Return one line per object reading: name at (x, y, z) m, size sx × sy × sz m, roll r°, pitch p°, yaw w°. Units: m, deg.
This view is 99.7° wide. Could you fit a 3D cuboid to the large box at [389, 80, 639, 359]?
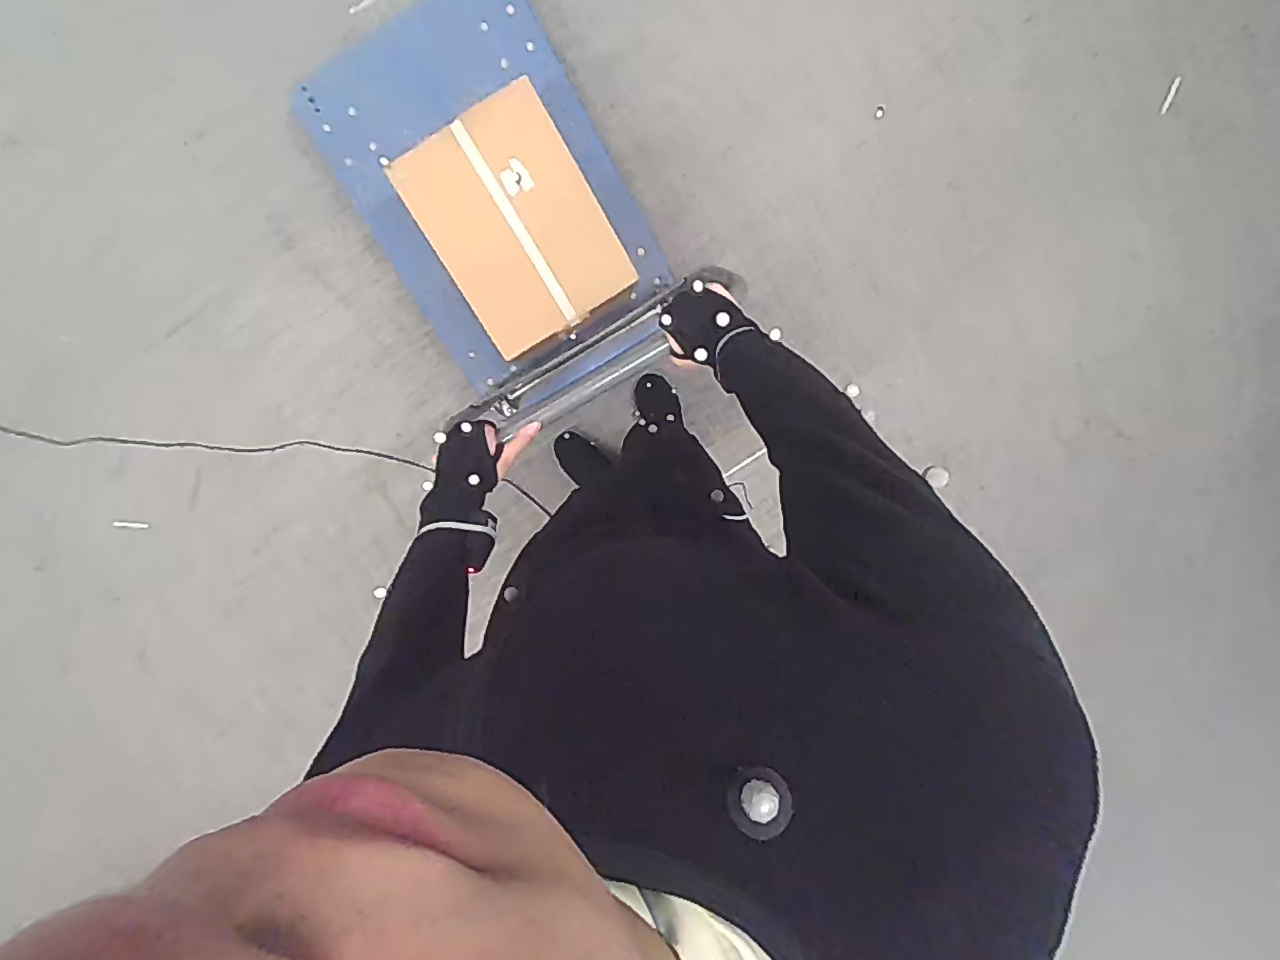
large box at (-0.237, -0.513, 1.167) m, size 0.320 × 0.320 × 0.408 m, roll -31°, pitch 102°, yaw 3°
